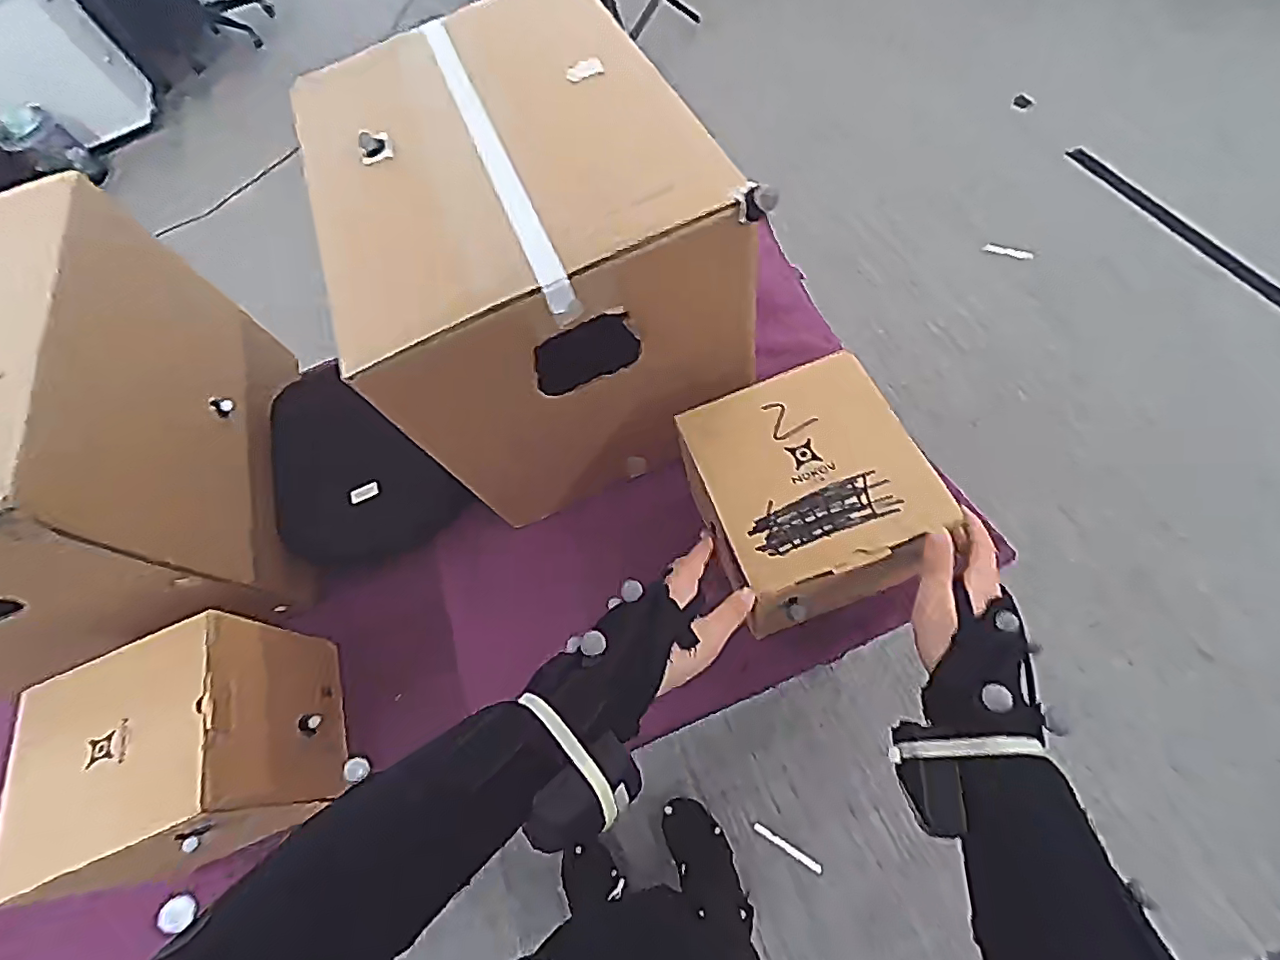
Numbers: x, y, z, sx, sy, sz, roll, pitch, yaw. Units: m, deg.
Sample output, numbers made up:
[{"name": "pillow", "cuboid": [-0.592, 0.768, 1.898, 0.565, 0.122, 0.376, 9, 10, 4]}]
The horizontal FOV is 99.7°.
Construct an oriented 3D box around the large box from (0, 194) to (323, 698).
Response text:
[{"name": "large box", "cuboid": [-0.612, -0.016, 0.603, 0.320, 0.320, 0.408, -23, 65, 0]}]
